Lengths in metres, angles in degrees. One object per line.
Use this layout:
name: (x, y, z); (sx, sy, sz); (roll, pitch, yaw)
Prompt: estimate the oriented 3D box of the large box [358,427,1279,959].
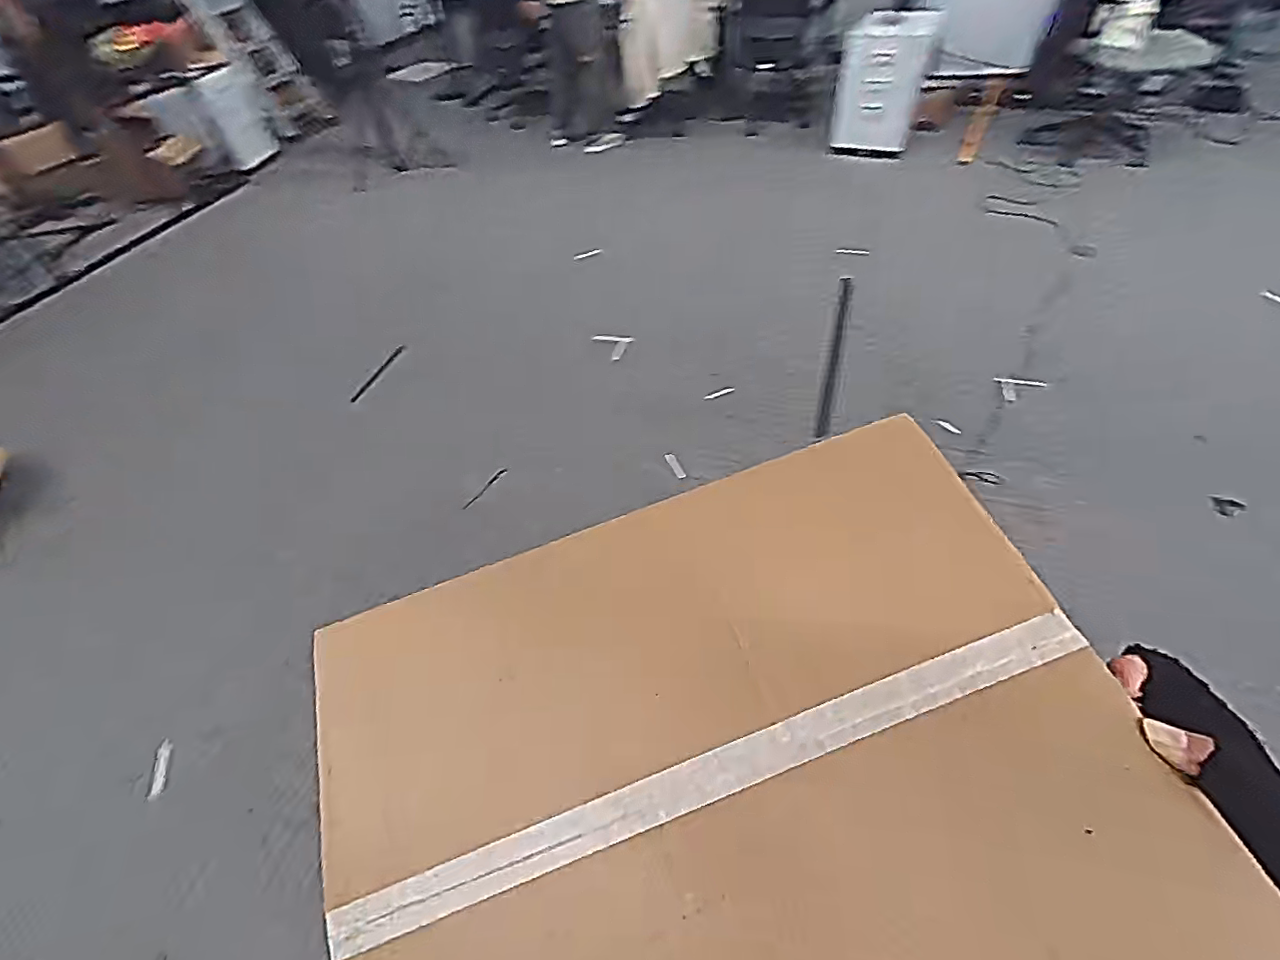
large box: (0.068, 0.224, 0.414); (0.408, 0.320, 0.320); (-19, 61, -3)
